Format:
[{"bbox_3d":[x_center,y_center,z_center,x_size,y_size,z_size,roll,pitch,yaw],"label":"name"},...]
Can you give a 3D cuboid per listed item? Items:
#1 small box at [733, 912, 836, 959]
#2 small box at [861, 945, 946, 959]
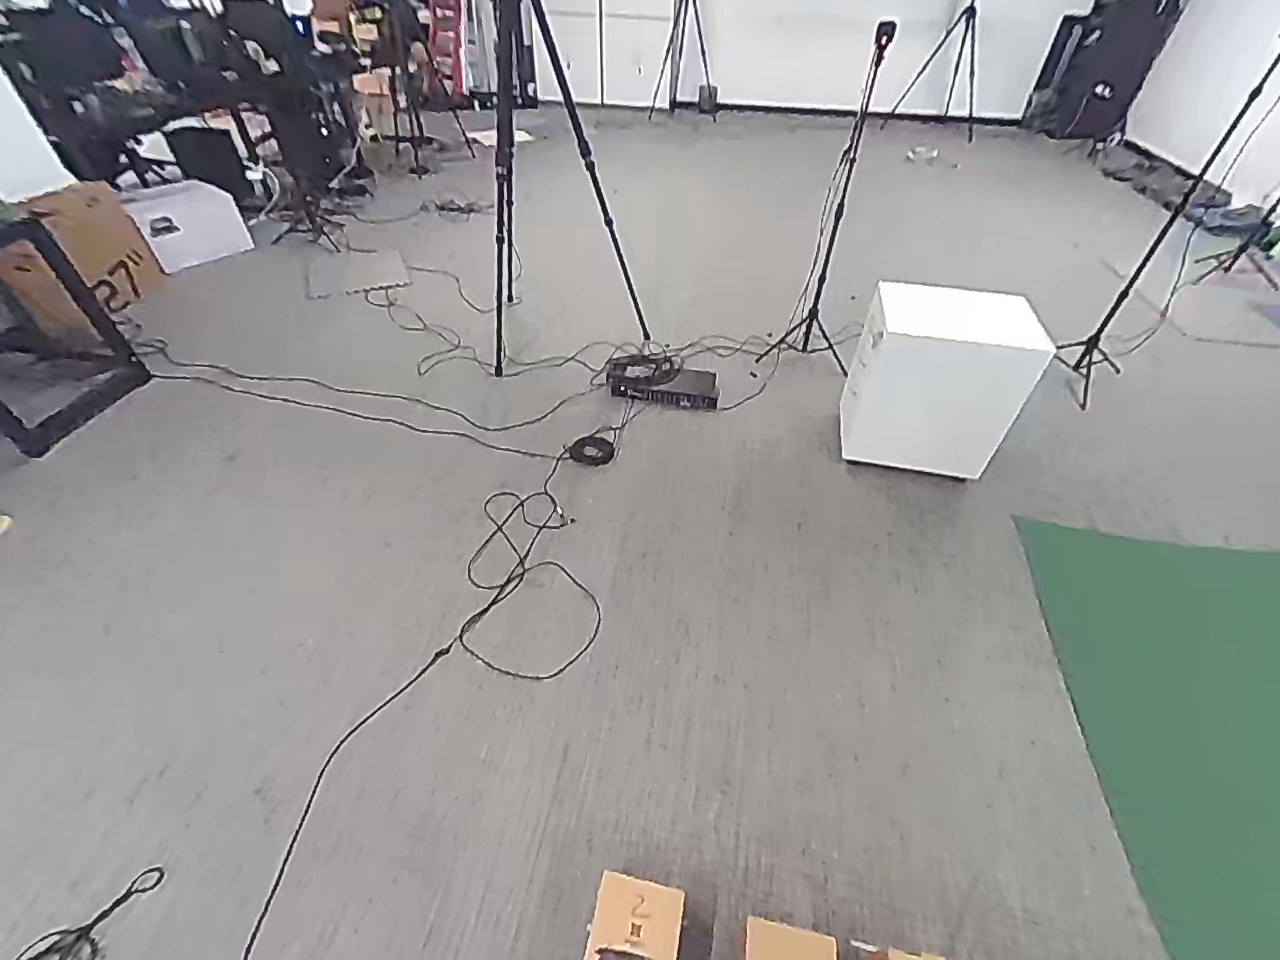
[{"bbox_3d":[0.263,0.946,1.007,0.168,0.176,0.179,8,44,8],"label":"small box"},{"bbox_3d":[0.514,0.984,0.980,0.168,0.176,0.179,8,44,7],"label":"small box"}]
